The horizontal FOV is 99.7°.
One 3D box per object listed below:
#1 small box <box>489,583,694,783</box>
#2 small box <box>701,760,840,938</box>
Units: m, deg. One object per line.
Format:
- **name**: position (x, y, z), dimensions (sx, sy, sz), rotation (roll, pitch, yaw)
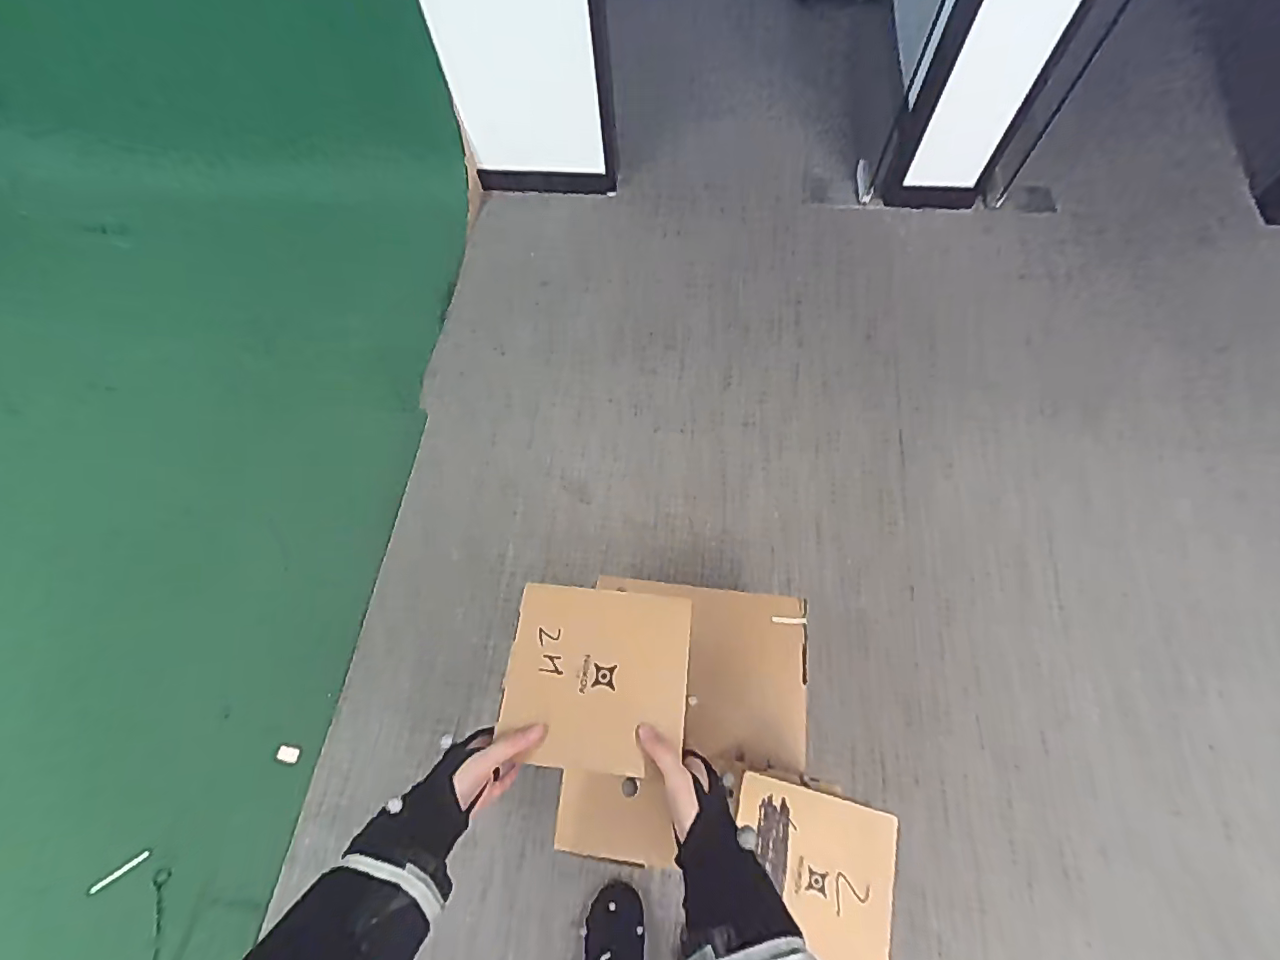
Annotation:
- **small box**: position (-0.039, 0.223, 0.590), dimensions (0.179, 0.176, 0.168), rotation (5, 63, 5)
- **small box**: position (0.185, 0.523, 0.796), dimensions (0.168, 0.176, 0.179), rotation (9, 65, 6)
